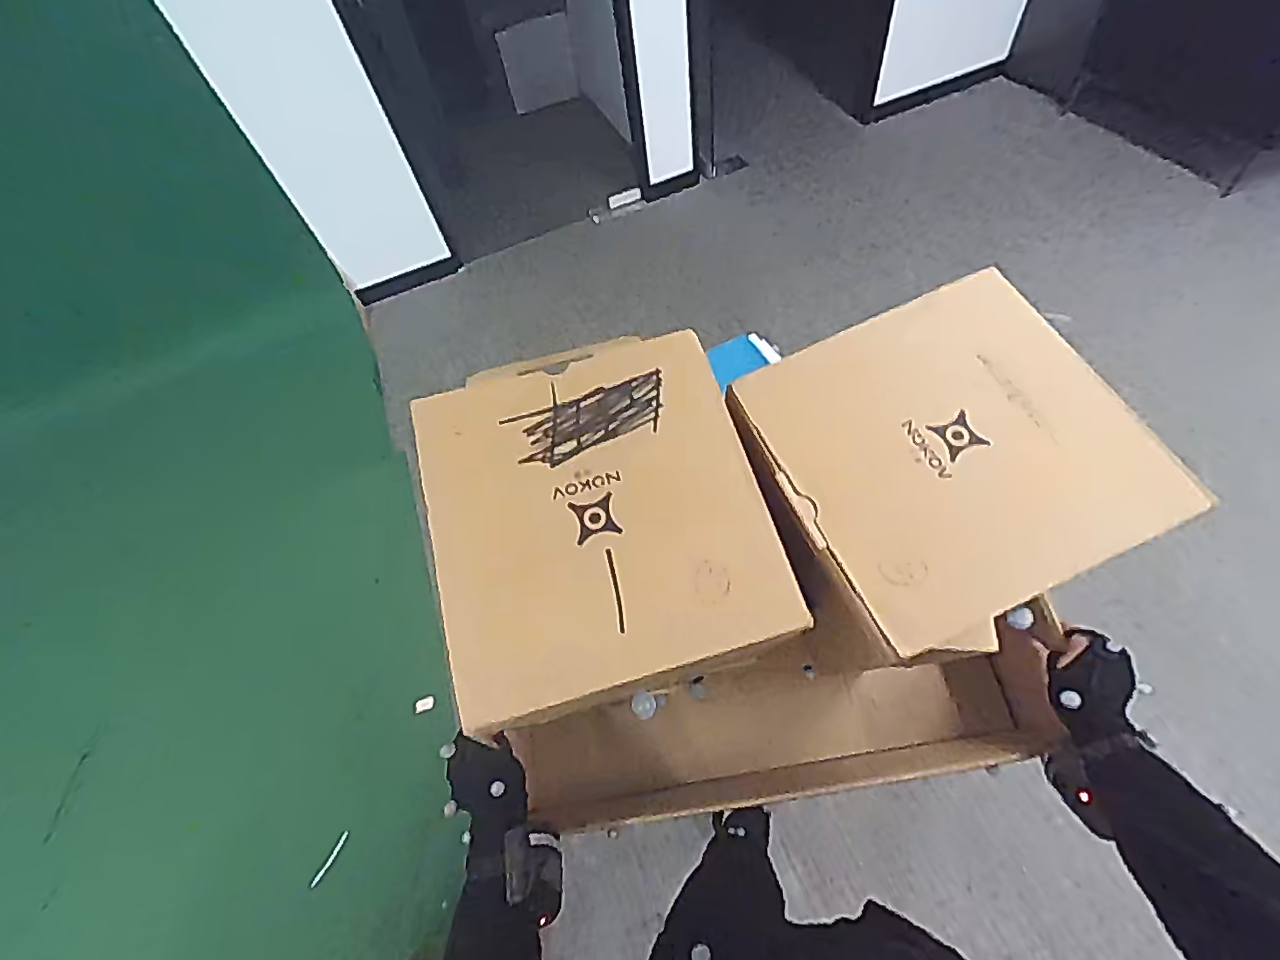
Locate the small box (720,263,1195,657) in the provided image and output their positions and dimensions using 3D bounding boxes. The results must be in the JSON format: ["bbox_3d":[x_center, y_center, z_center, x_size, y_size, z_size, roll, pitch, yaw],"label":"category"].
[{"bbox_3d":[0.165,0.003,0.357,0.179,0.176,0.168,-24,67,-4],"label":"small box"}]
